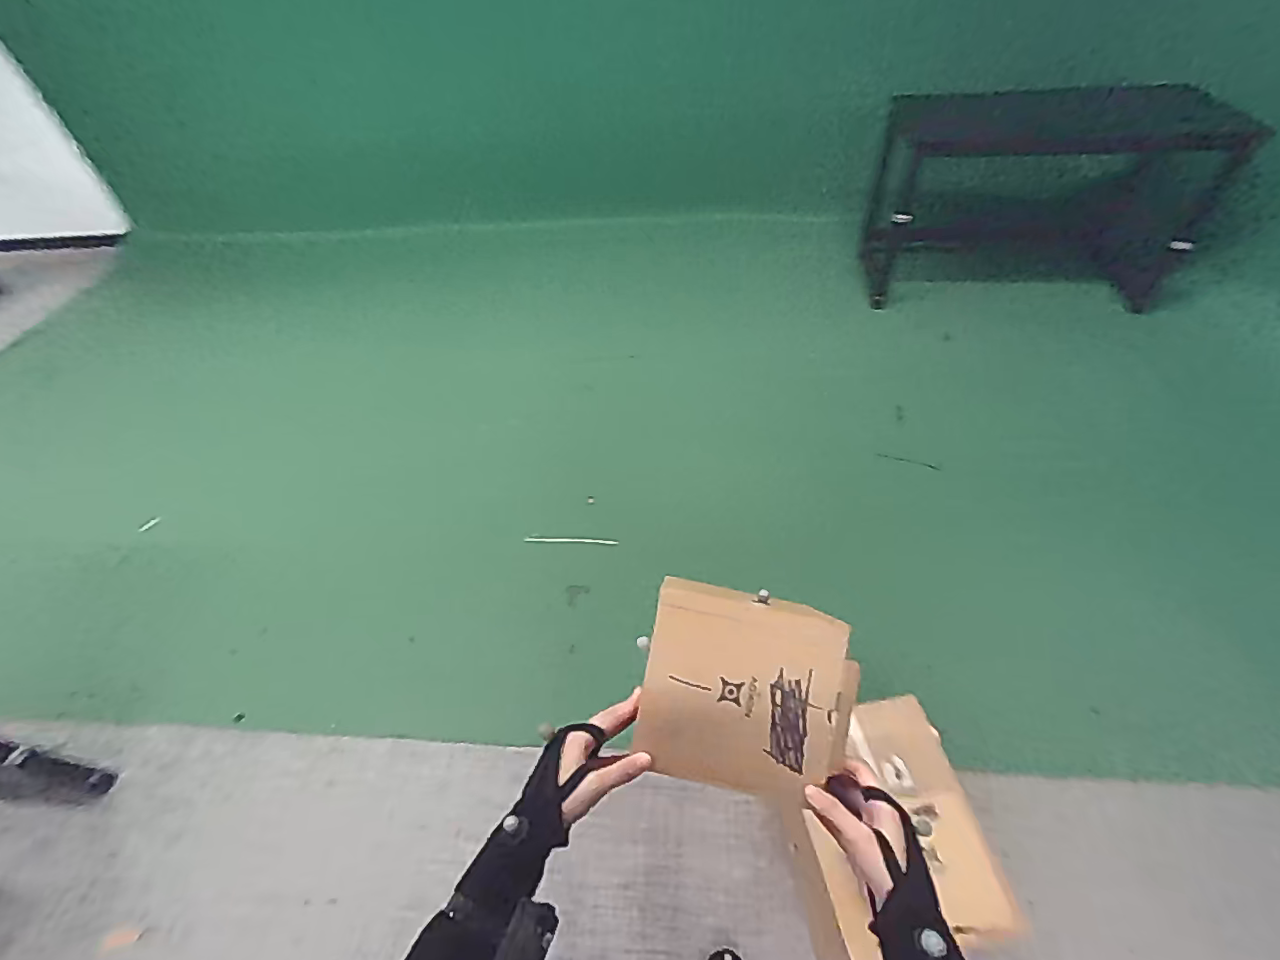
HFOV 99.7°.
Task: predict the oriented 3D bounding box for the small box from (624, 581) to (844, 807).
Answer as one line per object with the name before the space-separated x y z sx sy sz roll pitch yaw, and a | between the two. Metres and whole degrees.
small box | 0.090 0.203 0.567 0.179 0.176 0.168 11 83 5

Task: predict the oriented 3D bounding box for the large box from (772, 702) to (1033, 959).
large box | 0.476 0.740 1.116 0.320 0.320 0.408 -9 47 -4

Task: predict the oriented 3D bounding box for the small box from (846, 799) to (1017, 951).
small box | 0.454 0.640 0.876 0.168 0.176 0.179 -7 48 0
